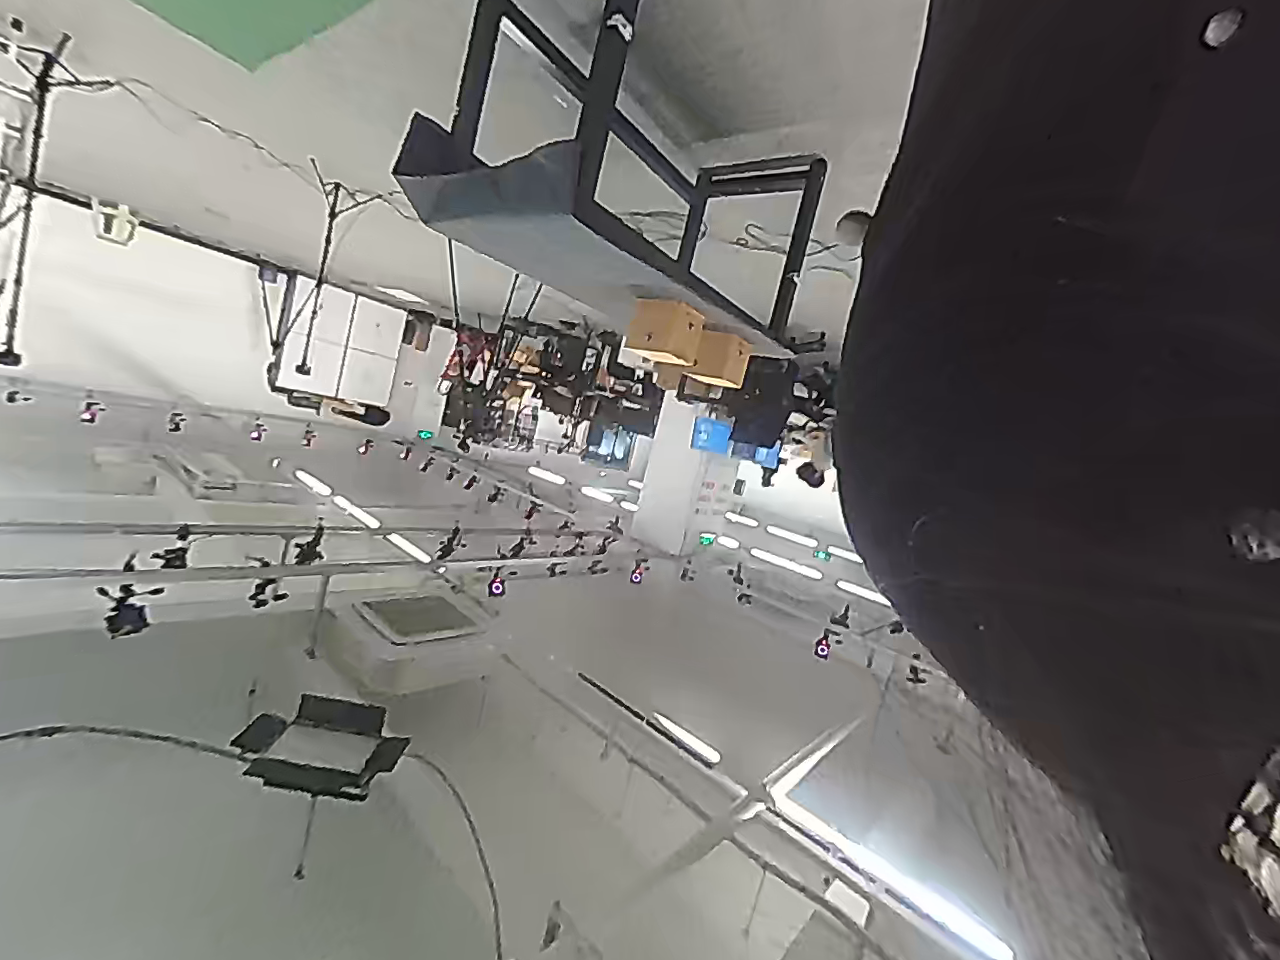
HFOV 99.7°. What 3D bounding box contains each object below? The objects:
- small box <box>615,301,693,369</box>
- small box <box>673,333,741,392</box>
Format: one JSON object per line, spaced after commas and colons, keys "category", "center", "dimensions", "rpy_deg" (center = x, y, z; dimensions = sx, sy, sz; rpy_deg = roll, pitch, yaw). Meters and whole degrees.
{"category": "small box", "center": [0.049, -0.470, 1.749], "dimensions": [0.179, 0.176, 0.168], "rpy_deg": [16, -175, 35]}
{"category": "small box", "center": [0.253, -0.439, 2.009], "dimensions": [0.179, 0.176, 0.168], "rpy_deg": [17, -174, 34]}
